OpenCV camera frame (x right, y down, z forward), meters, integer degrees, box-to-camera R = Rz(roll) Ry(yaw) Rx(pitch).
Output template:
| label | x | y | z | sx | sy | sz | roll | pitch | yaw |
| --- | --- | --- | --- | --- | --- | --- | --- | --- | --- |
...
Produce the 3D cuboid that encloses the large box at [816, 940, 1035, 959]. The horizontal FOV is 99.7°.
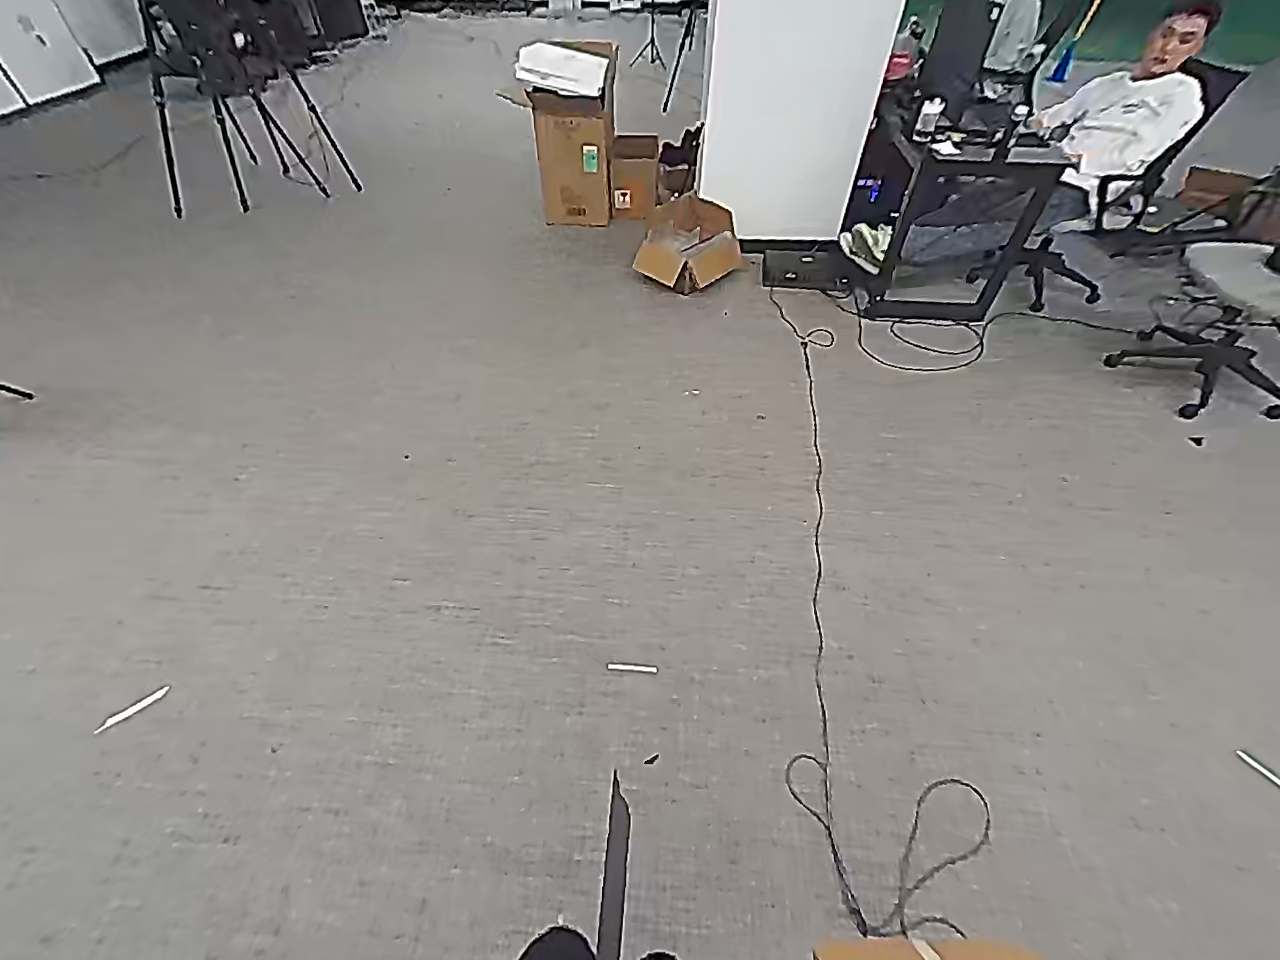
| label | x | y | z | sx | sy | sz | roll | pitch | yaw |
| --- | --- | --- | --- | --- | --- | --- | --- | --- | --- |
| large box | 0.411 | 0.791 | 0.583 | 0.320 | 0.408 | 0.320 | -2 | 75 | 2 |
